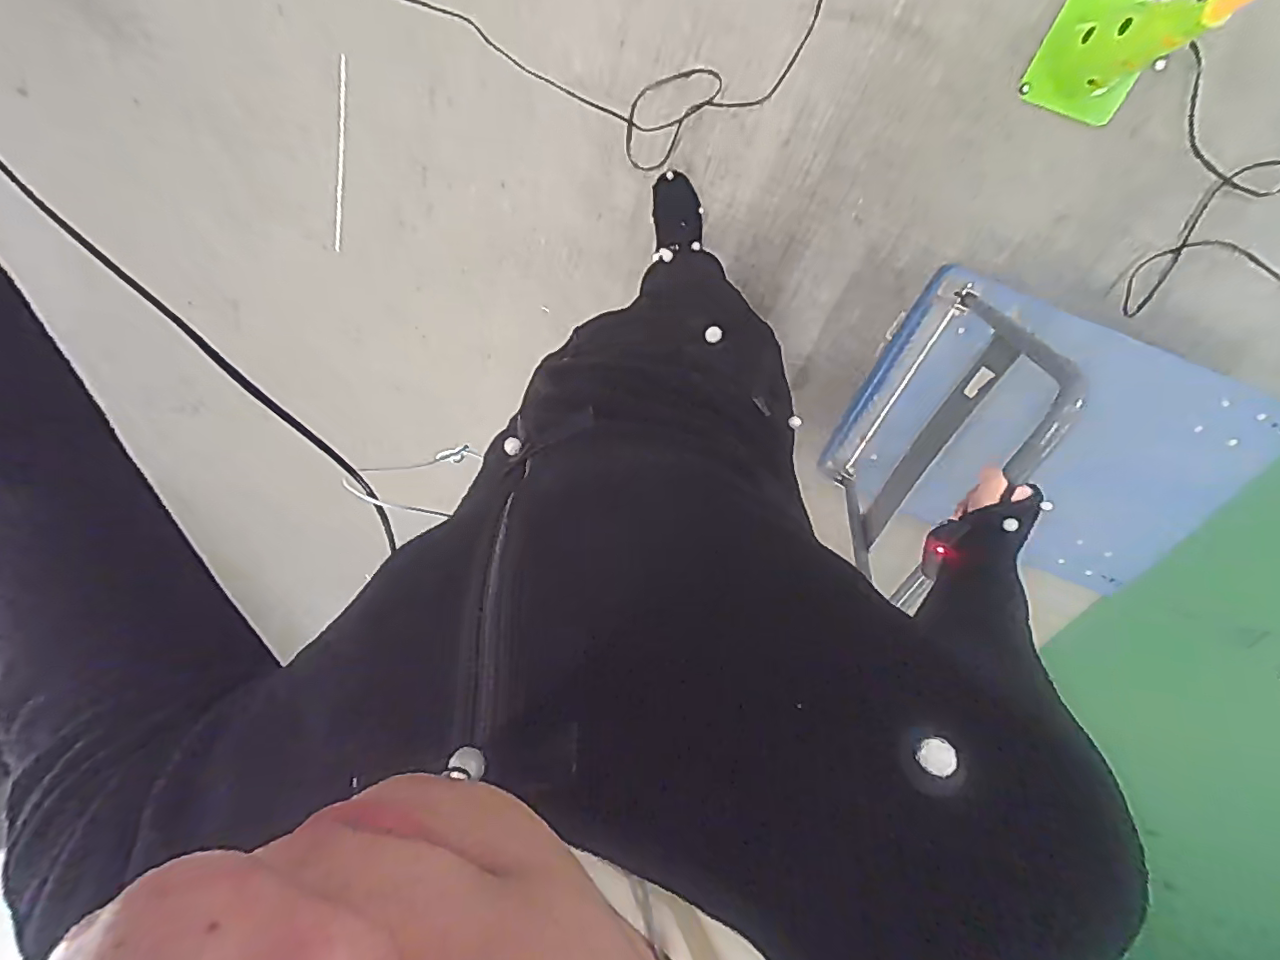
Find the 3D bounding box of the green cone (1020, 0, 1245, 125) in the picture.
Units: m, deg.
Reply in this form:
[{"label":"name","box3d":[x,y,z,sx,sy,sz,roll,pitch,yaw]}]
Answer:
[{"label":"green cone","box3d":[0.857,-0.750,0.907,0.200,0.368,0.202,20,120,0]}]
